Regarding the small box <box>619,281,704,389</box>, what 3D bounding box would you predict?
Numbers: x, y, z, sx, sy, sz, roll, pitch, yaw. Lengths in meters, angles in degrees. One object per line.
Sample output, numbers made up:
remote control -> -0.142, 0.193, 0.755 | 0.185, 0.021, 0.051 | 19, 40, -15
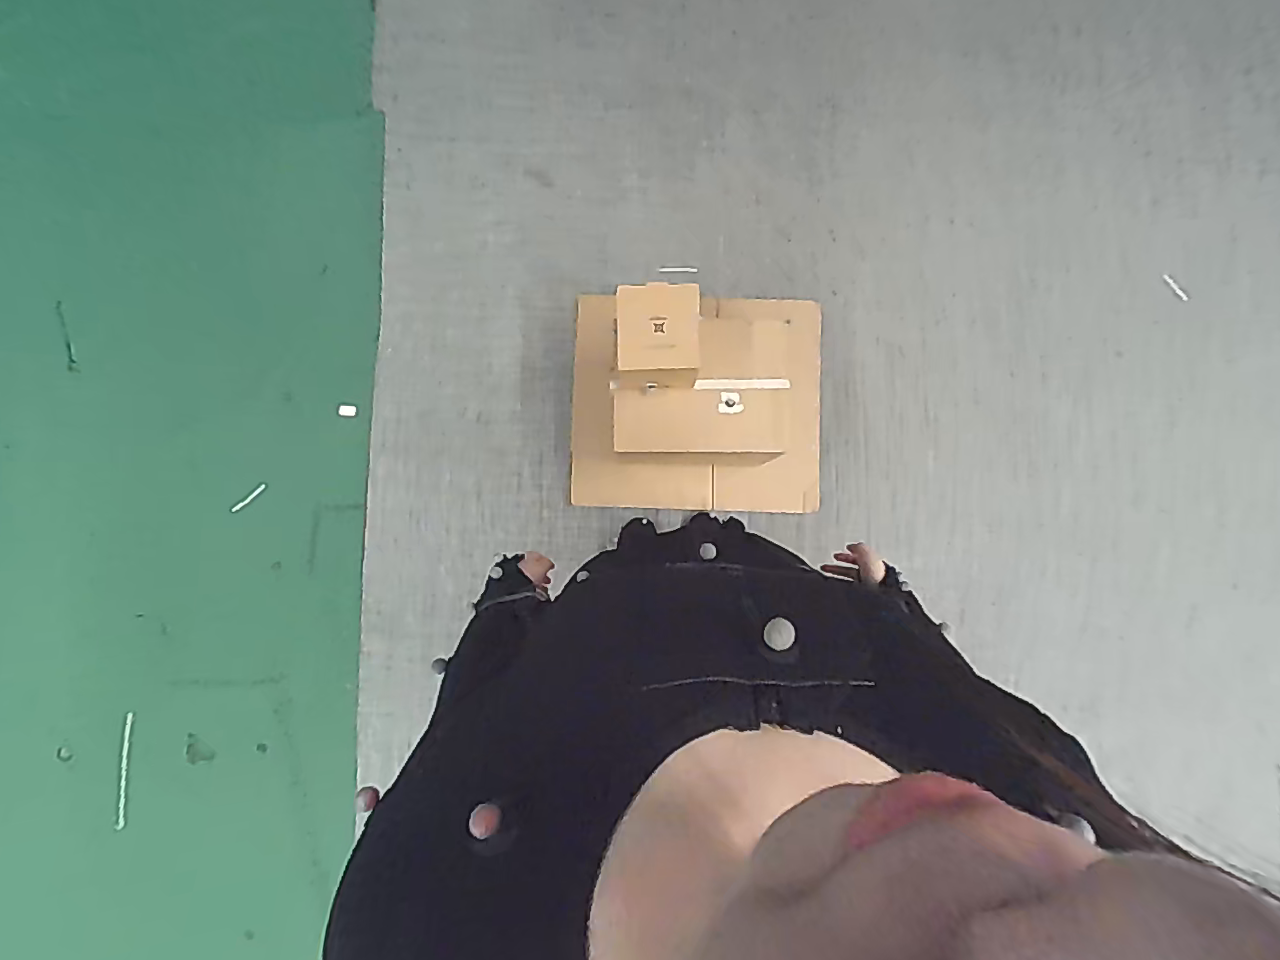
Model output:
small box -> 0.042, -0.298, 1.136 | 0.168, 0.176, 0.179 | -2, 85, 1

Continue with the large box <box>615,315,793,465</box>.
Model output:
large box -> 0.143, -0.211, 1.372 | 0.408, 0.320, 0.320 | 0, 87, 0
